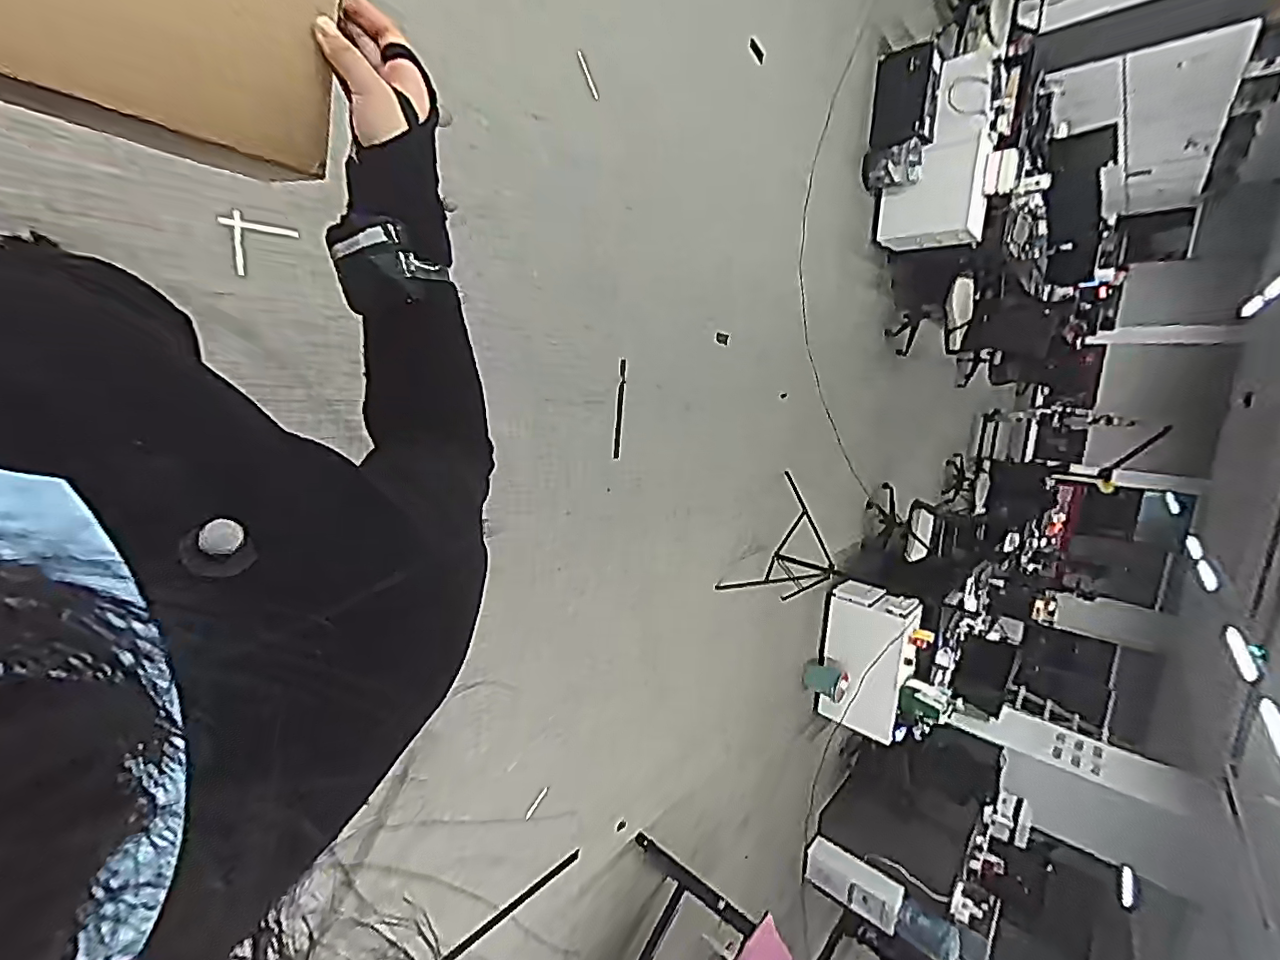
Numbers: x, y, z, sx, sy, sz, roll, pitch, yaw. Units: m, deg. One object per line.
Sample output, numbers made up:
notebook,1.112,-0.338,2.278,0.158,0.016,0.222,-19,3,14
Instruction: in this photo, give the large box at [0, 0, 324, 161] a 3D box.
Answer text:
large box,-0.457,-0.445,0.353,0.408,0.320,0.320,0,111,-41
